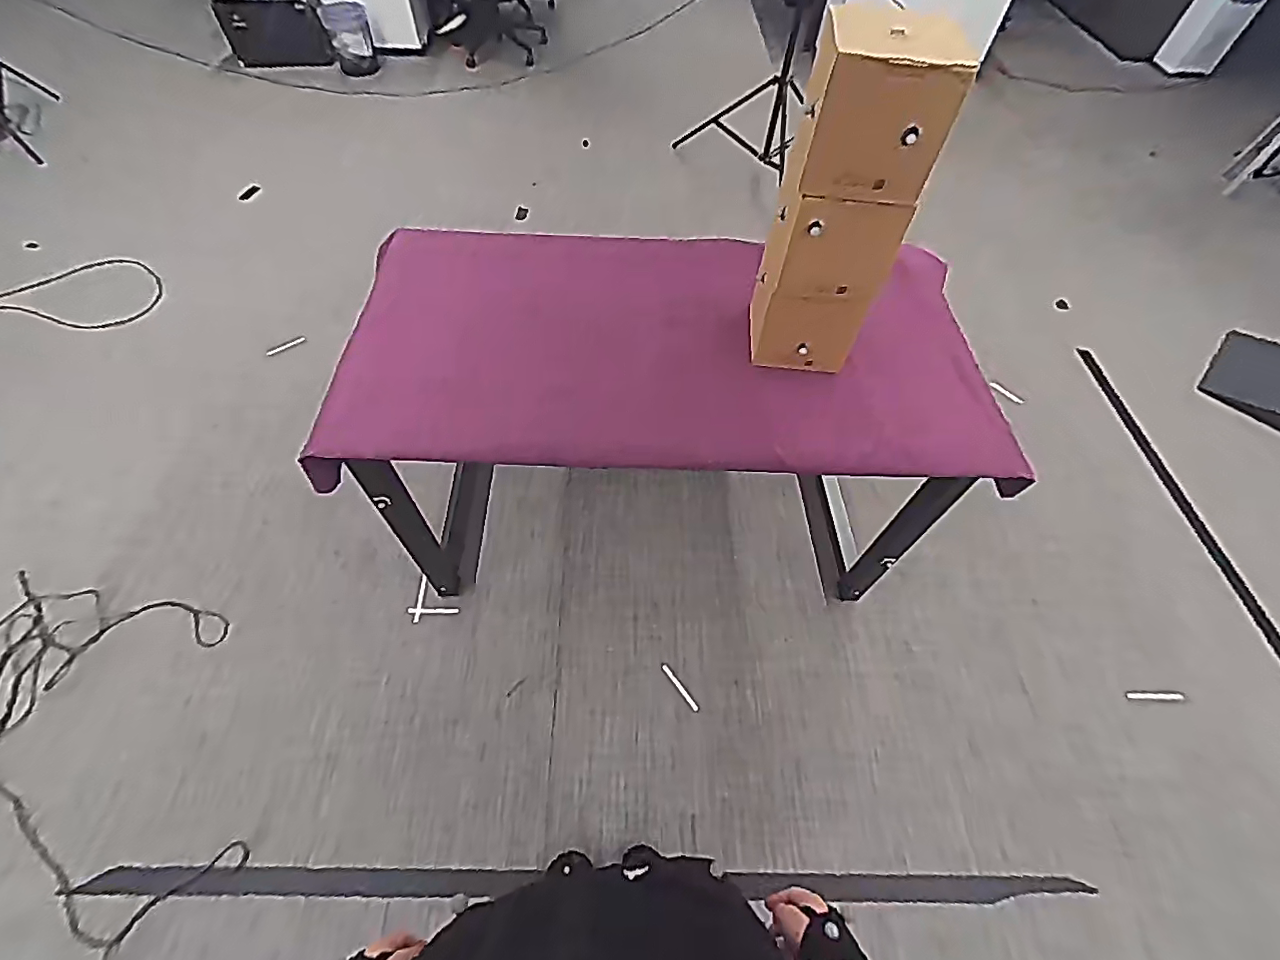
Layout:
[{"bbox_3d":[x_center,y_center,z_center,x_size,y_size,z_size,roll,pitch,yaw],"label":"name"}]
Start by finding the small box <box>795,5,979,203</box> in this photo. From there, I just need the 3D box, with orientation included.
[{"bbox_3d":[0.314,-0.502,0.731,0.168,0.176,0.179,8,55,1],"label":"small box"}]

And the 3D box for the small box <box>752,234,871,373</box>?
[{"bbox_3d":[0.307,-0.327,1.007,0.168,0.176,0.179,5,57,2],"label":"small box"}]
